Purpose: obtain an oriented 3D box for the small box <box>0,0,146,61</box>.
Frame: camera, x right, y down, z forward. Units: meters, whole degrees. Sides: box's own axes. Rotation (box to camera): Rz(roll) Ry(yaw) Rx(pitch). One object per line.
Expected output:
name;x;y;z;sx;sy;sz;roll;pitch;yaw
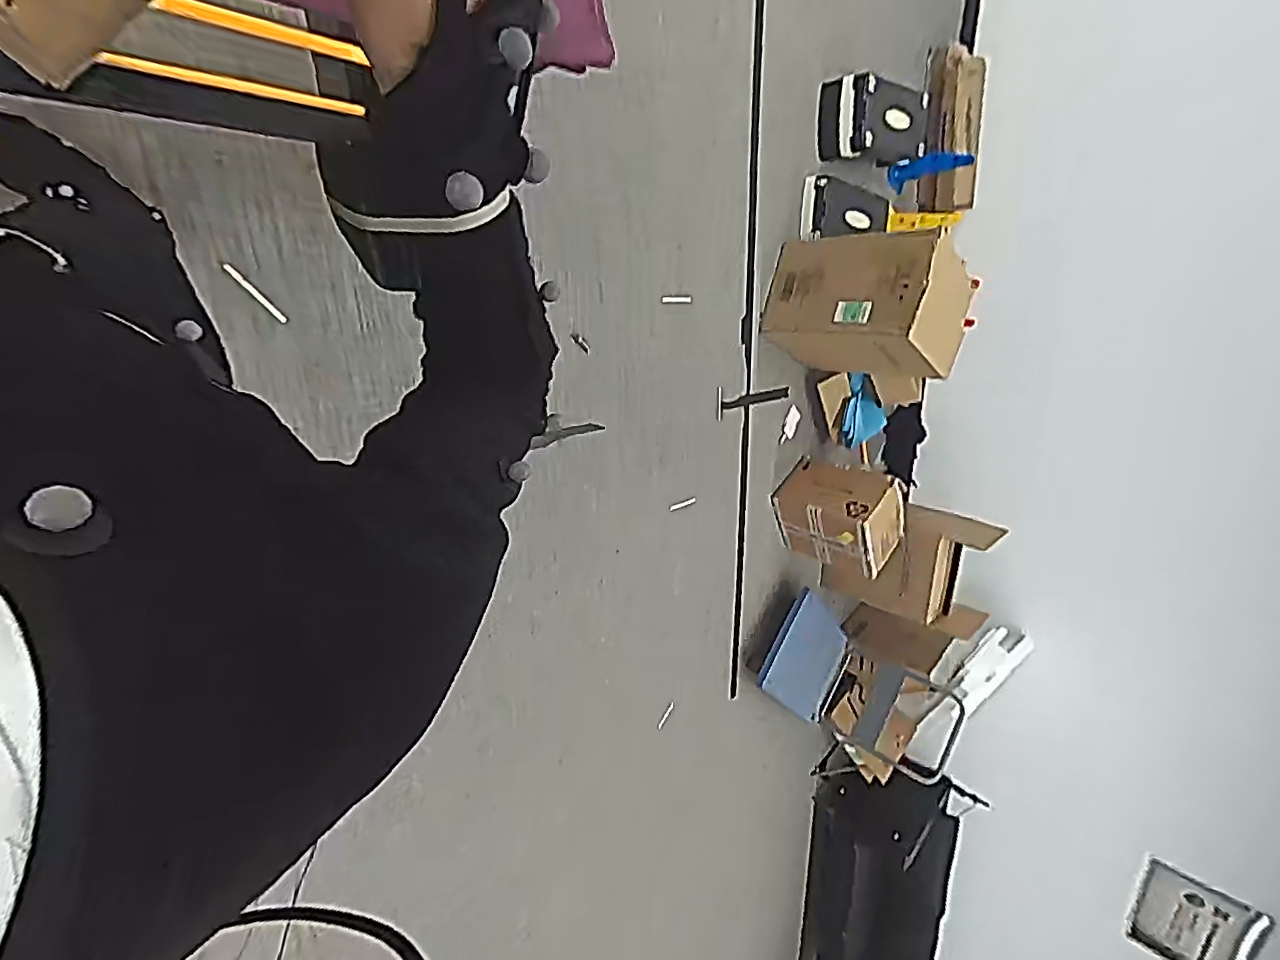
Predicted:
small box;-0.167;-0.237;0.117;0.179;0.176;0.168;-53;139;-7
